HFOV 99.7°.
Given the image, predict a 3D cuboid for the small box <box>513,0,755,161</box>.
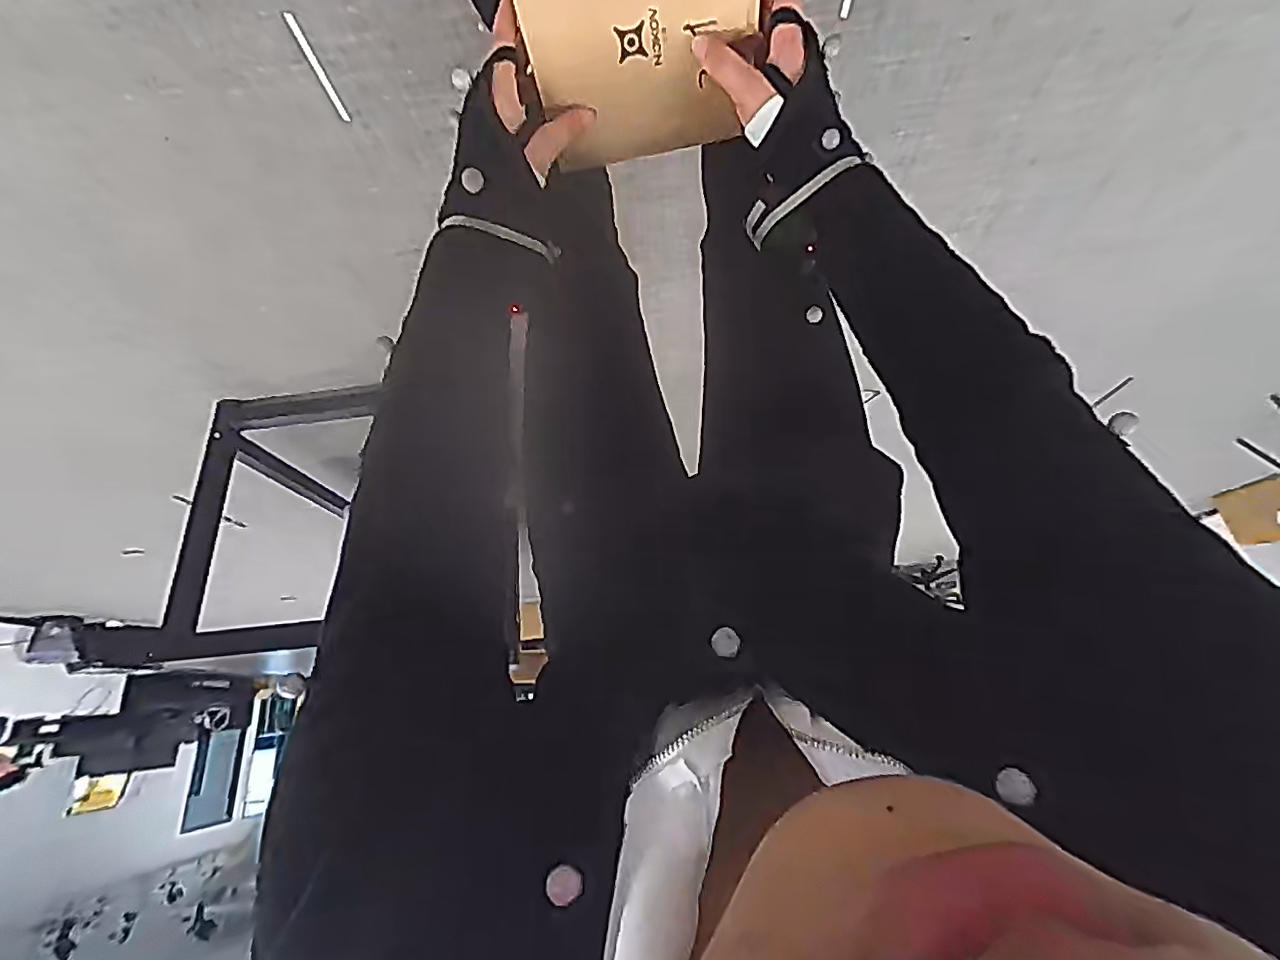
[{"bbox_3d":[-0.006,-0.405,0.450,0.179,0.176,0.168,-9,148,4],"label":"small box"}]
